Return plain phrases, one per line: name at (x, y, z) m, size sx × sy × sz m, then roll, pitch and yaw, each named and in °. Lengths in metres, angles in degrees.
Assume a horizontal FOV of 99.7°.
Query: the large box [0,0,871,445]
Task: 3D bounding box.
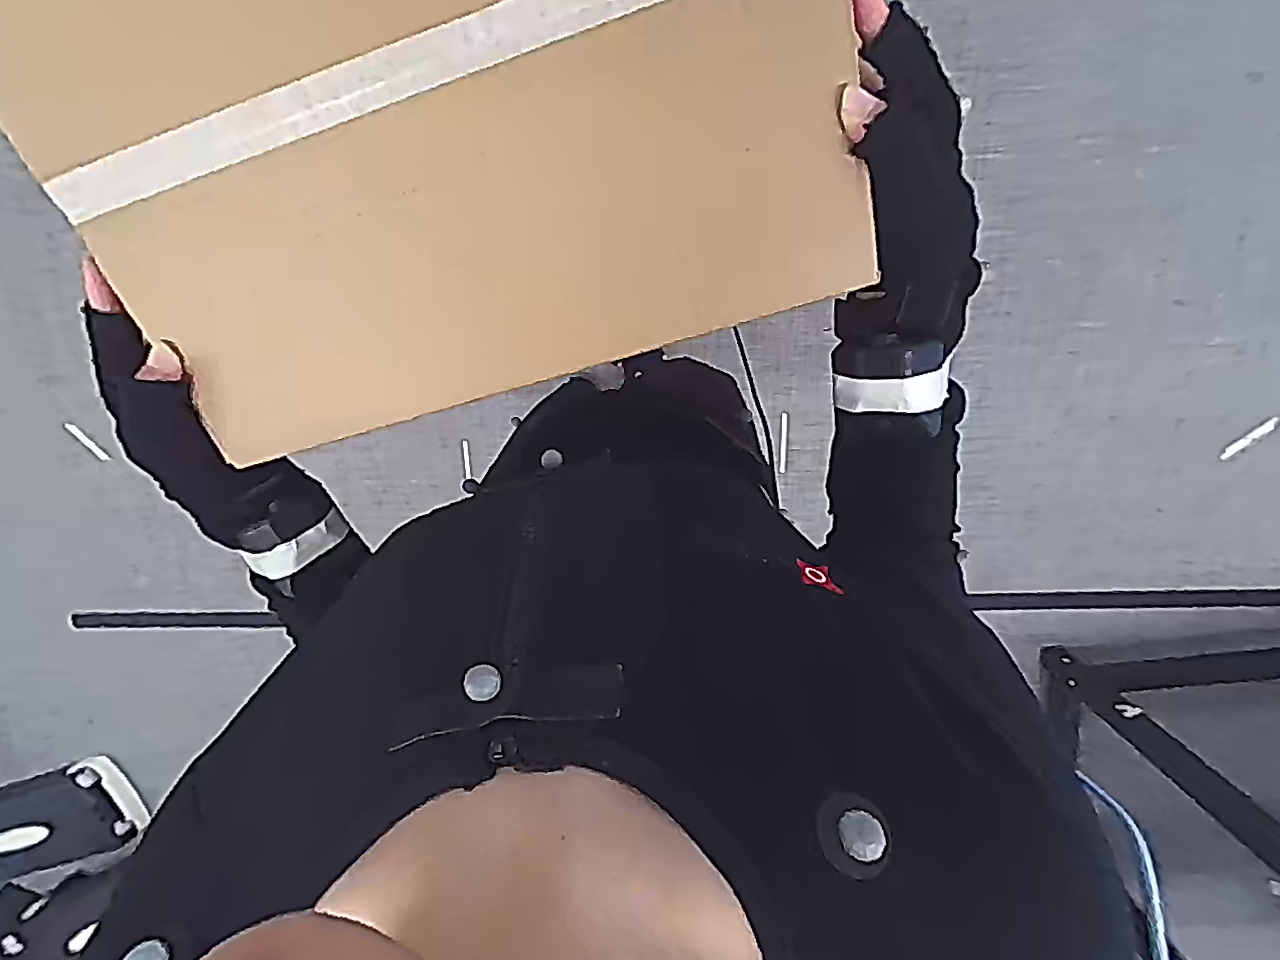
large box at (-0.100, -0.263, 0.406) m, size 0.408 × 0.320 × 0.320 m, roll -14°, pitch 114°, yaw 7°
